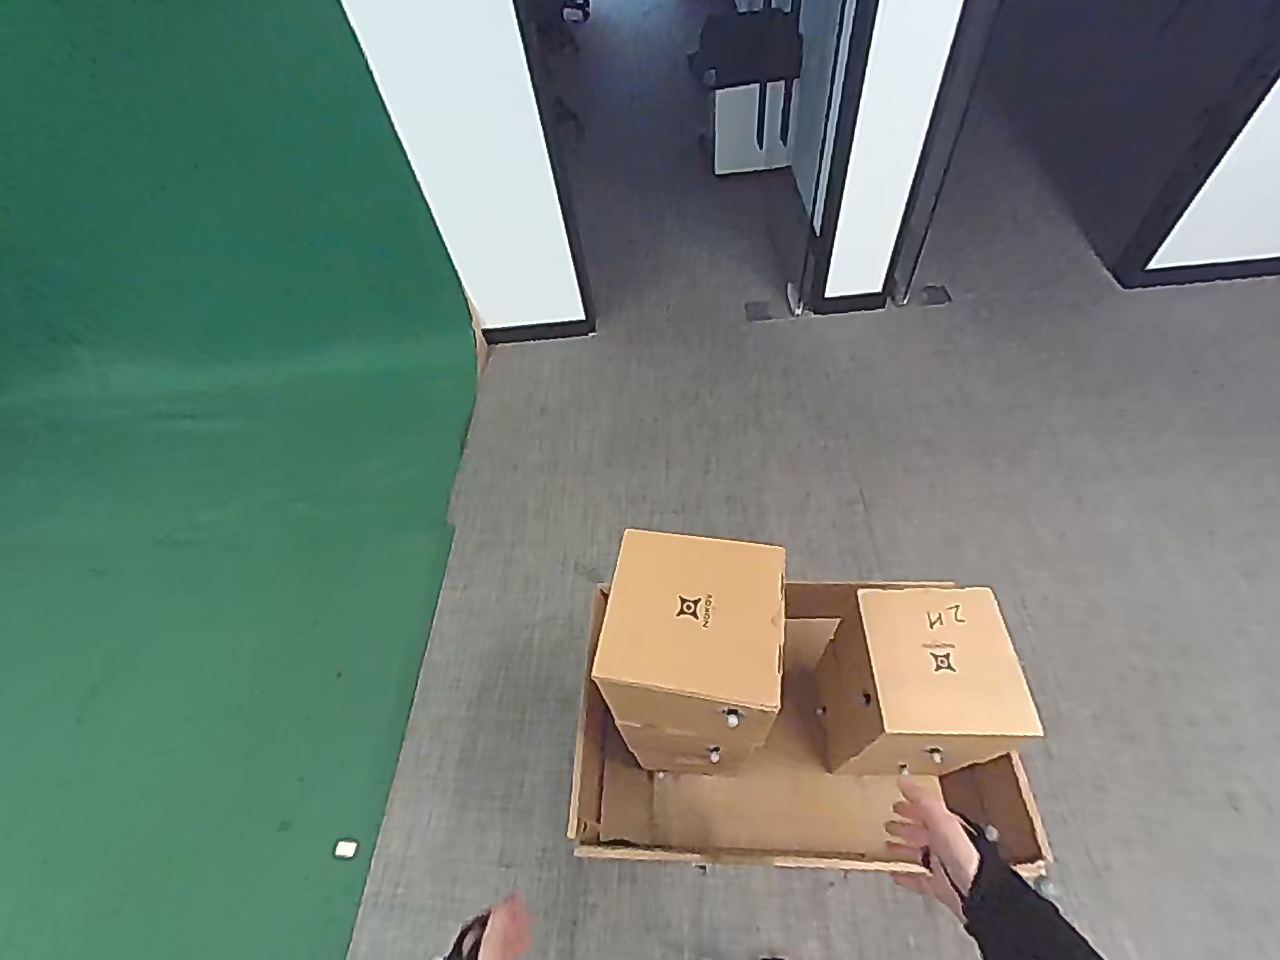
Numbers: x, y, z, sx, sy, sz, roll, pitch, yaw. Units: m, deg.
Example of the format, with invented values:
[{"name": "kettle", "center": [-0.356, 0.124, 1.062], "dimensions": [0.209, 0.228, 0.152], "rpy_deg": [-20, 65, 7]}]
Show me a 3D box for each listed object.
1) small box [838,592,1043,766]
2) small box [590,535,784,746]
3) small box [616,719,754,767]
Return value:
[{"name": "small box", "center": [0.364, 0.259, 0.696], "dimensions": [0.168, 0.176, 0.179], "rpy_deg": [-2, 53, 7]}, {"name": "small box", "center": [0.058, 0.181, 0.600], "dimensions": [0.179, 0.176, 0.168], "rpy_deg": [6, 54, 10]}, {"name": "small box", "center": [0.071, 0.274, 0.733], "dimensions": [0.168, 0.176, 0.179], "rpy_deg": [3, 53, 9]}]
